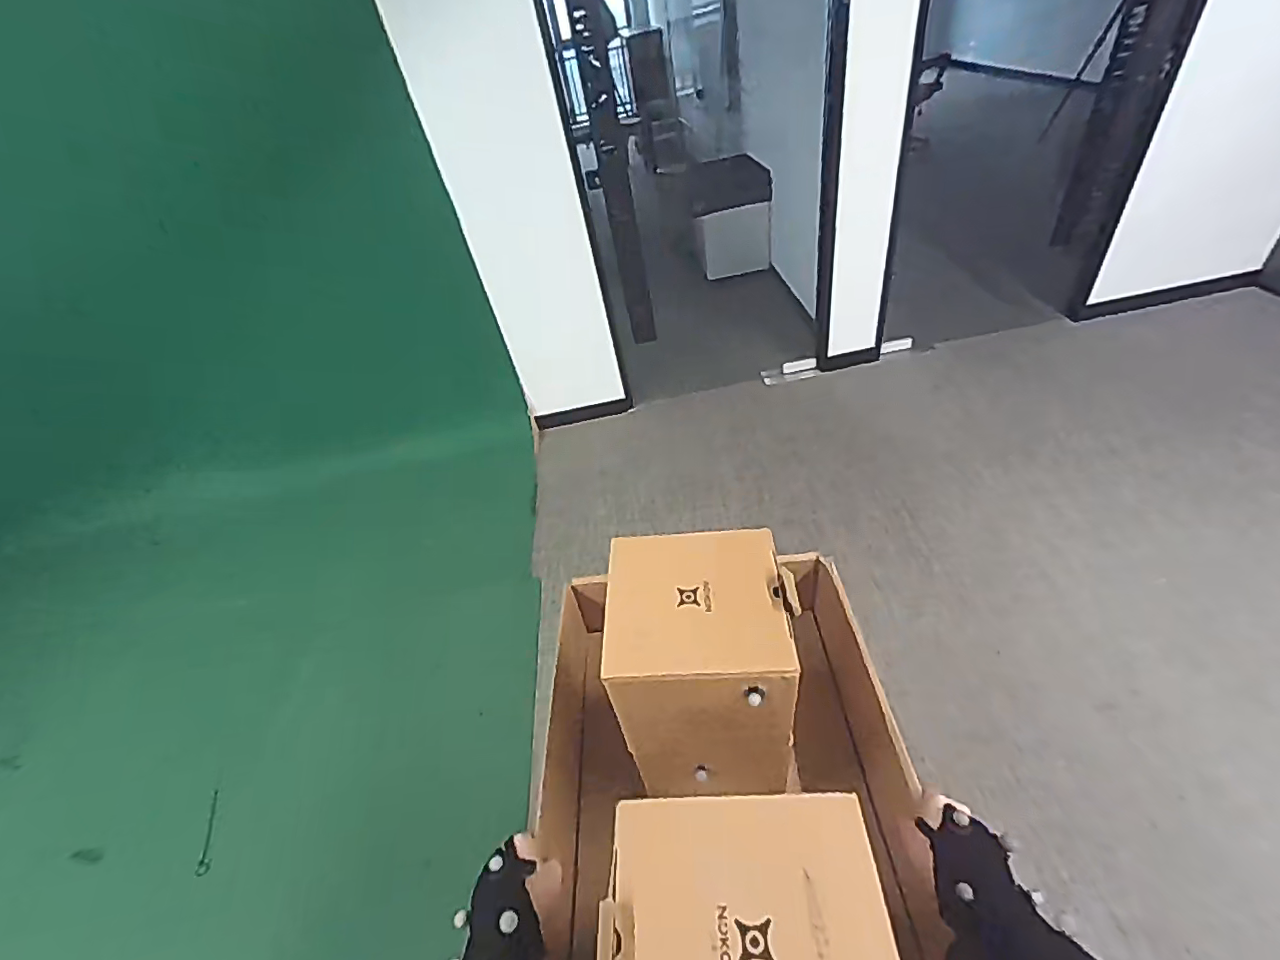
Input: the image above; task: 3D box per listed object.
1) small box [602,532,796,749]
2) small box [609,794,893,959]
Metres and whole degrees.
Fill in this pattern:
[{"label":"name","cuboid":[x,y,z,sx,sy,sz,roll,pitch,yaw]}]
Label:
[{"label":"small box","cuboid":[0.064,0.177,0.586,0.179,0.176,0.168,-4,43,6]},{"label":"small box","cuboid":[0.077,0.348,0.391,0.179,0.176,0.168,-5,42,5]}]
